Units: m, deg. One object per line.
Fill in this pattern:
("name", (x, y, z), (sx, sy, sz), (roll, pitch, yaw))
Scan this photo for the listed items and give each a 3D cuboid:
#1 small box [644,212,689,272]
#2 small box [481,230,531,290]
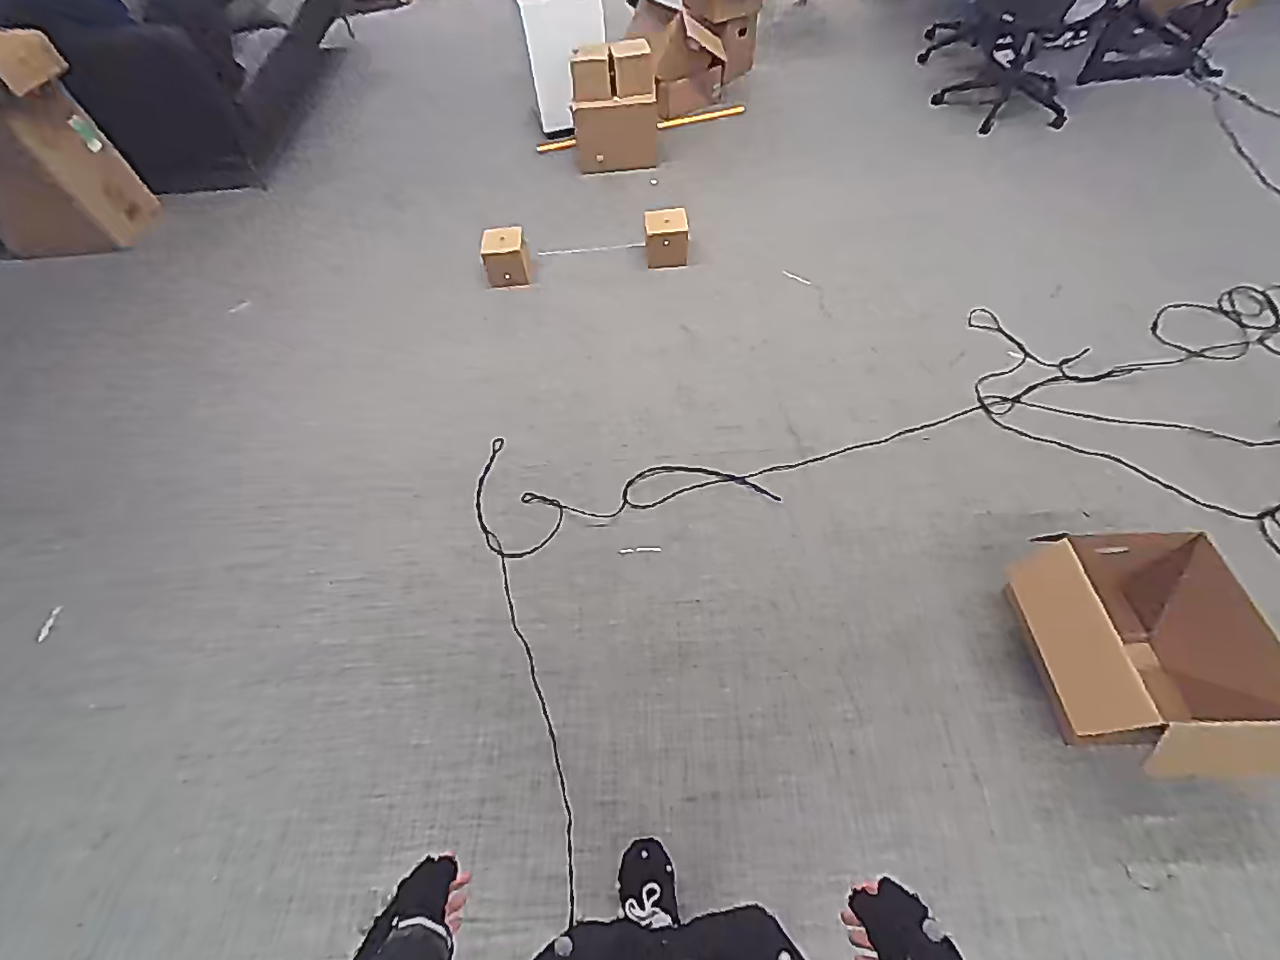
("small box", (0.114, -1.015, 2.308), (0.179, 0.176, 0.168), (-6, 57, 1))
("small box", (-0.567, -0.937, 2.309), (0.168, 0.176, 0.179), (-6, 57, 1))
